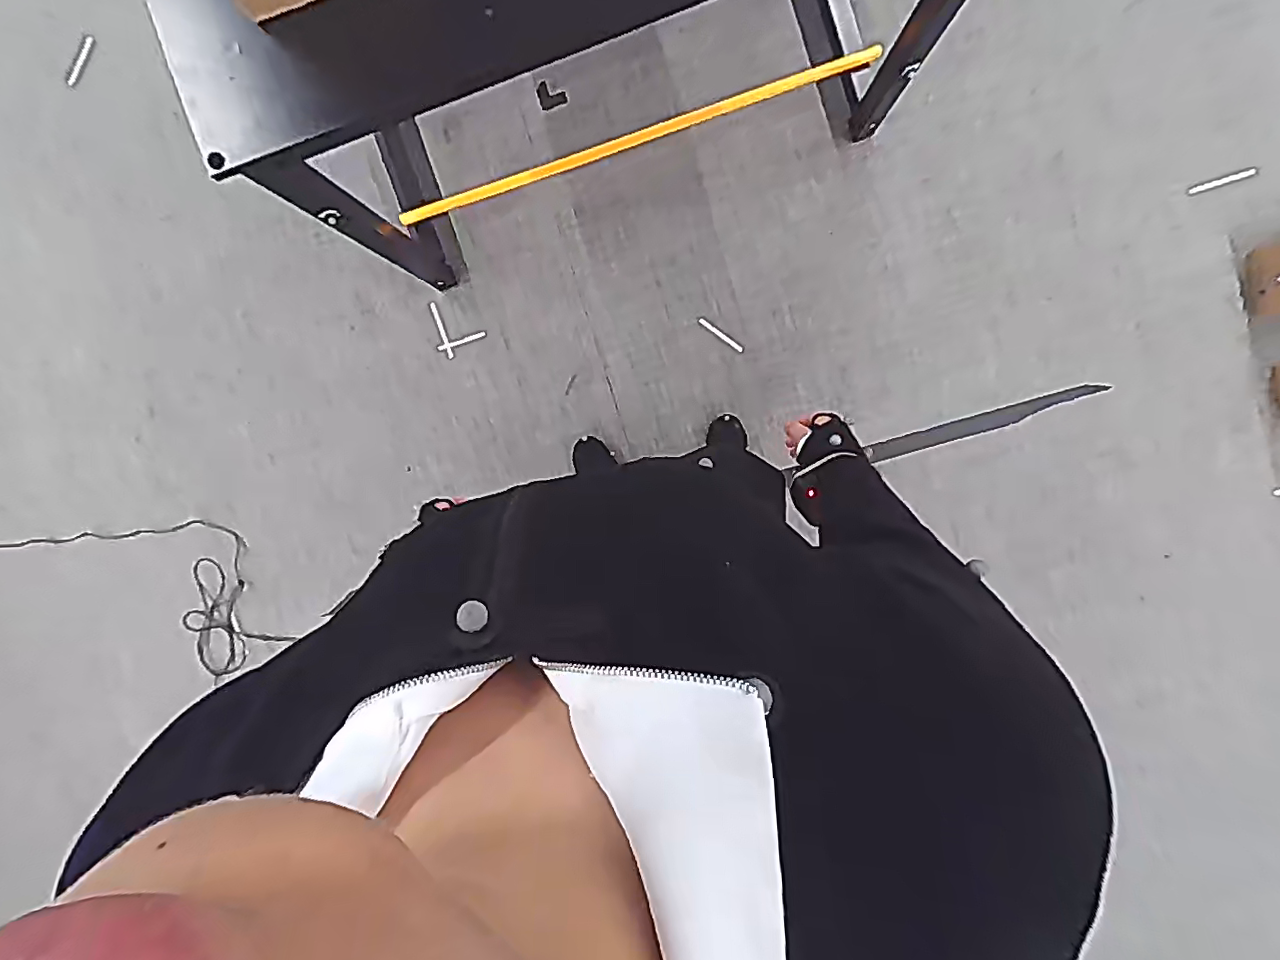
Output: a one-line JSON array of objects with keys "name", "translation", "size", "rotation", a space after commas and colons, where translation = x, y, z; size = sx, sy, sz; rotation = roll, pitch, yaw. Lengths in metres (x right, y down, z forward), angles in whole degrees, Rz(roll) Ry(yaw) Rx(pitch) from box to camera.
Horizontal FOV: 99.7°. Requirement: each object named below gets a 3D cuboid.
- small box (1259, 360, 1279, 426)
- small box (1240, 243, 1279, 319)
[{"name": "small box", "translation": [1.680, -0.222, 1.307], "size": [0.168, 0.176, 0.179], "rotation": [-18, 95, 4]}, {"name": "small box", "translation": [1.592, -0.495, 1.281], "size": [0.179, 0.176, 0.168], "rotation": [-15, 95, 5]}]
